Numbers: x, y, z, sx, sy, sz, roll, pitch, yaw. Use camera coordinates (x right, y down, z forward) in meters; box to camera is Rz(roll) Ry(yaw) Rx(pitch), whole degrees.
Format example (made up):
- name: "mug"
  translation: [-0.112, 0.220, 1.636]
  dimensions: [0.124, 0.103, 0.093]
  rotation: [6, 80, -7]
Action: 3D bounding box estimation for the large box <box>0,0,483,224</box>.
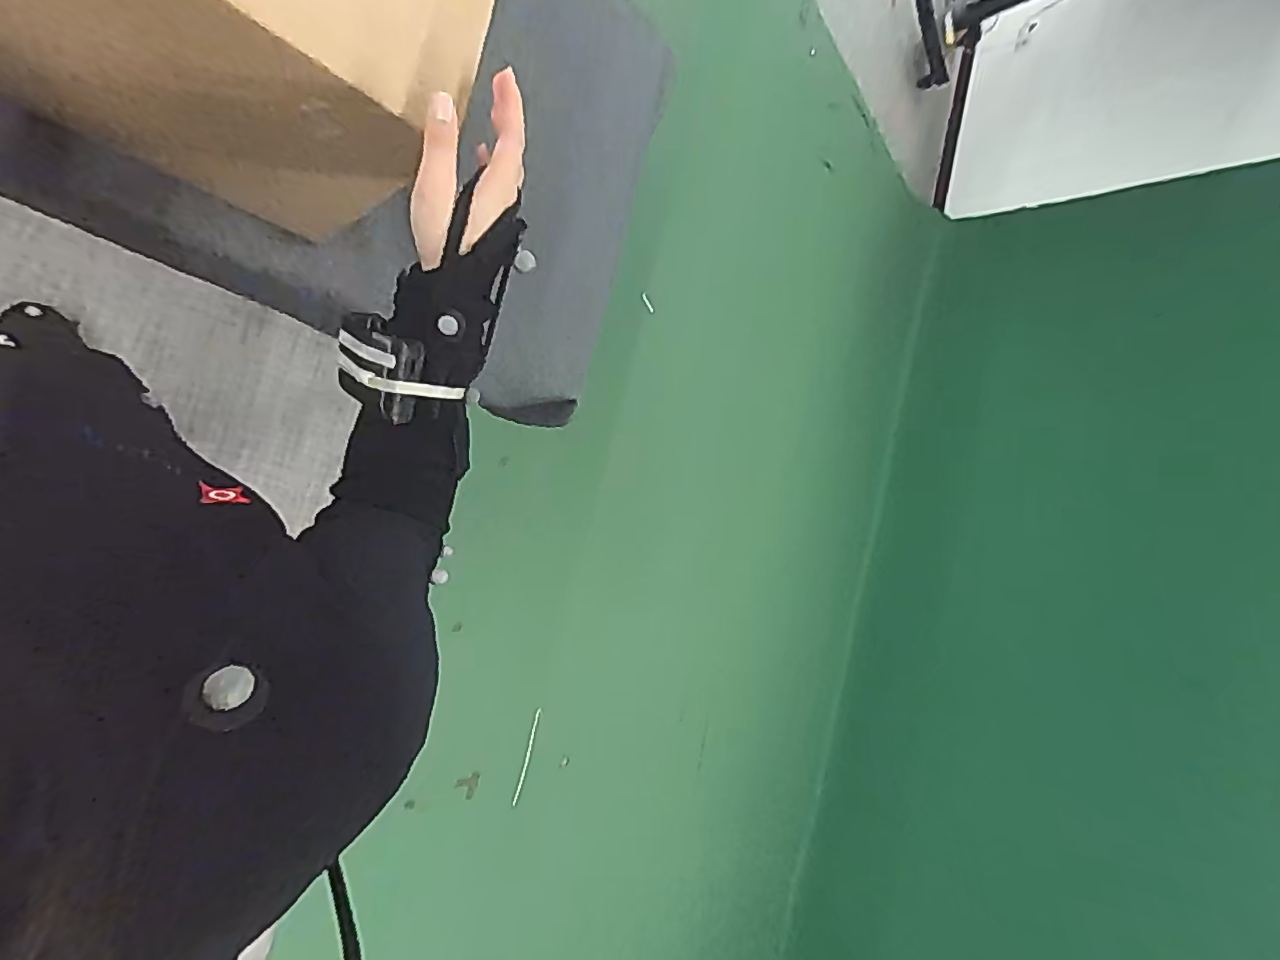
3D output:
- name: "large box"
  translation: [-0.347, -0.440, 0.353]
  dimensions: [0.408, 0.320, 0.320]
  rotation: [15, 86, -48]
